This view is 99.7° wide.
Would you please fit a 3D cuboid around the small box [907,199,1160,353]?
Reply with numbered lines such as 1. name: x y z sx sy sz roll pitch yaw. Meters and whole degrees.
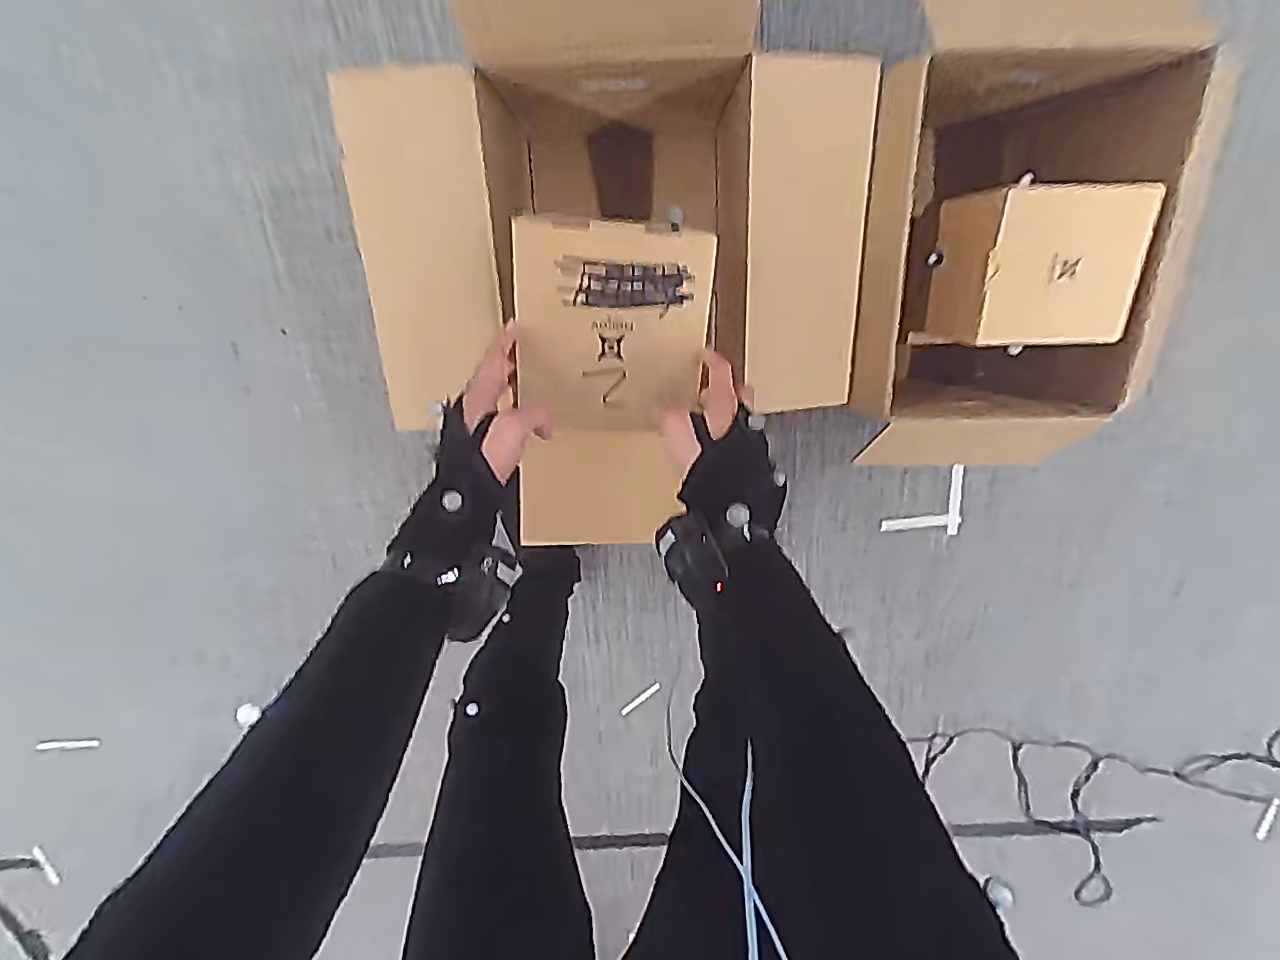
1. small box: 0.475 -0.258 0.685 0.179 0.176 0.168 -1 111 0
